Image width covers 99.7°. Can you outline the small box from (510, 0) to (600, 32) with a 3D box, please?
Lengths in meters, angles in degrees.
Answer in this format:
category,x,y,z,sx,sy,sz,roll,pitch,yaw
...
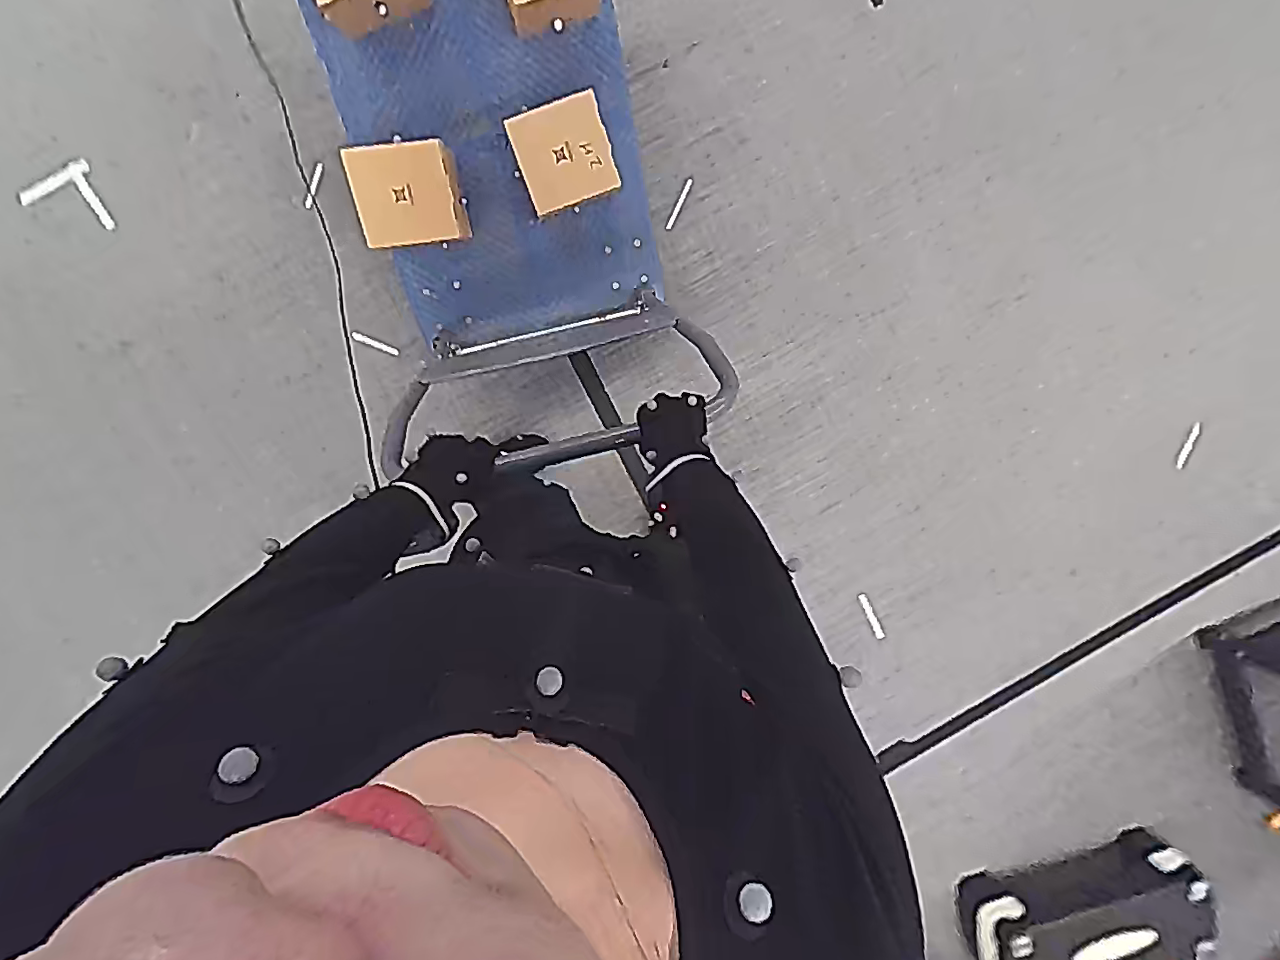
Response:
category,x,y,z,sx,sy,sz,roll,pitch,yaw
small box,-0.167,-0.936,0.947,0.168,0.176,0.179,-18,116,-1

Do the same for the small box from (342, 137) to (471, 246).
category,x,y,z,sx,sy,sz,roll,pitch,yaw
small box,-0.447,-0.561,1.068,0.179,0.176,0.168,-11,115,-6

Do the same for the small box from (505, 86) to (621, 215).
category,x,y,z,sx,sy,sz,roll,pitch,yaw
small box,-0.150,-0.643,1.078,0.179,0.176,0.168,-20,116,0
